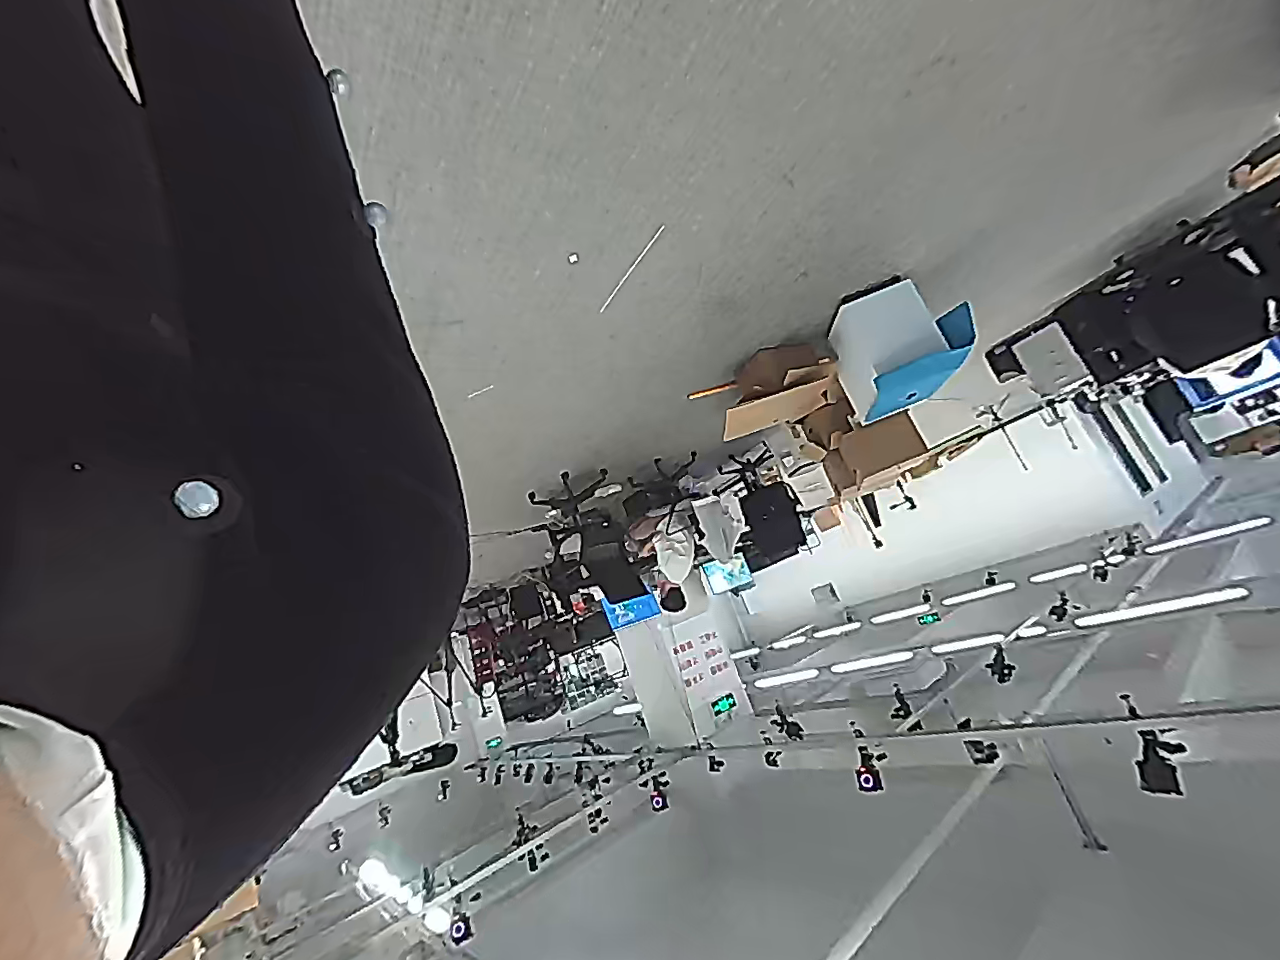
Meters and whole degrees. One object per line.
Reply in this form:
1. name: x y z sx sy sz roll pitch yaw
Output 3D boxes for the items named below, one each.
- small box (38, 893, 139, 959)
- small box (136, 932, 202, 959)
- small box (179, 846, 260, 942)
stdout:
1. small box: -1.502 1.279 1.479 0.168 0.176 0.179 -10 164 -39
2. small box: -1.351 1.420 1.528 0.179 0.176 0.168 -7 162 -40
3. small box: -1.285 1.251 1.657 0.179 0.176 0.168 -8 161 -38
